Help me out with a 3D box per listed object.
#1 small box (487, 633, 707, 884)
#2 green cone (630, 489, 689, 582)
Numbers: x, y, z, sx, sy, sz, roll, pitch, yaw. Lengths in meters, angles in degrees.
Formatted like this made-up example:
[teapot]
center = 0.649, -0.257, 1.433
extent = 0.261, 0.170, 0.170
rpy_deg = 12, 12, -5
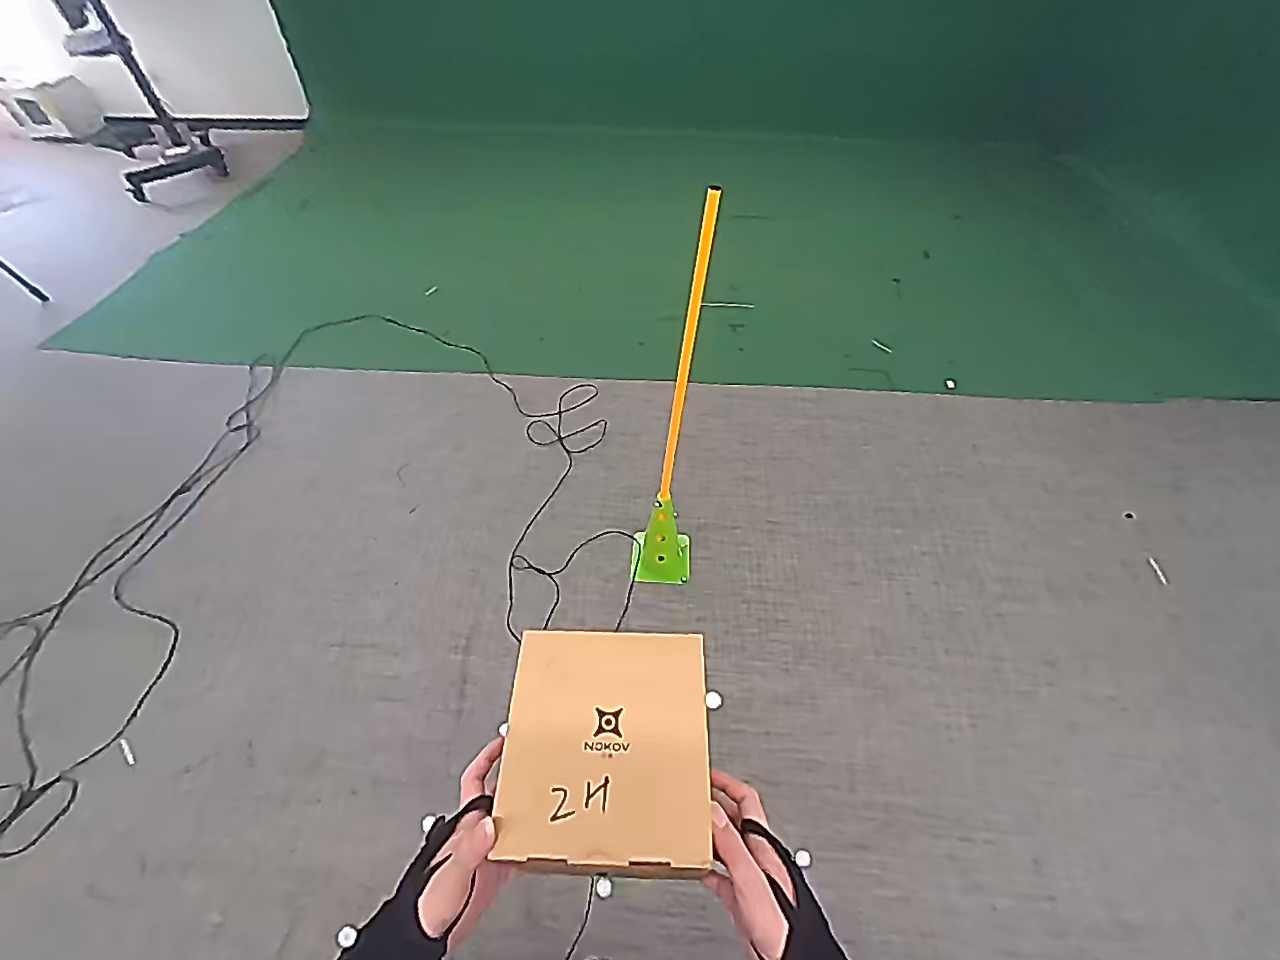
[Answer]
[small box]
center = -0.029, 0.264, 0.509
extent = 0.168, 0.176, 0.179
rpy_deg = 2, 52, 2
[green cone]
center = 0.068, 0.154, 1.754
extent = 0.202, 0.368, 0.200
rpy_deg = 2, 50, 3
